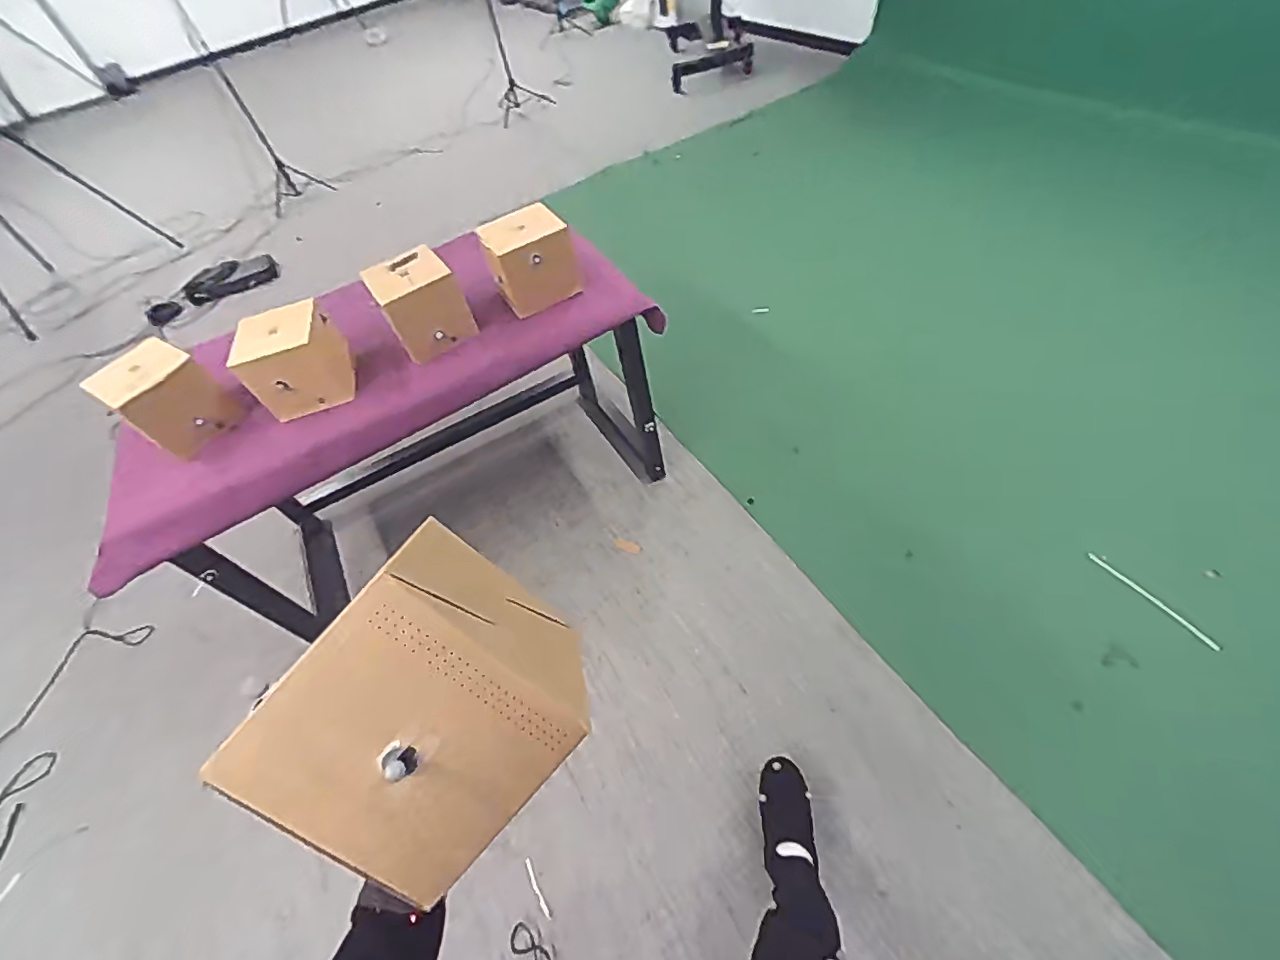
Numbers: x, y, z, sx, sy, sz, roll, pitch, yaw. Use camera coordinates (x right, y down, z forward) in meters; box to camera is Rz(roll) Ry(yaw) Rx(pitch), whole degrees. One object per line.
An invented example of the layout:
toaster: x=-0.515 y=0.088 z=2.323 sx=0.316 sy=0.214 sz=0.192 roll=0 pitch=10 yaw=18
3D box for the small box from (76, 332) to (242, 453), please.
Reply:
small box: x=-1.013 y=-0.183 z=1.153 sx=0.179 sy=0.176 sz=0.168 roll=24 pitch=60 yaw=25

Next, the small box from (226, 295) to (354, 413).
small box: x=-0.749 y=-0.266 z=1.178 sx=0.168 sy=0.176 sz=0.179 roll=-19 pitch=51 yaw=-4

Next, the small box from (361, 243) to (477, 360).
small box: x=-0.503 y=-0.407 z=1.243 sx=0.168 sy=0.176 sz=0.179 roll=-32 pitch=55 yaw=-14

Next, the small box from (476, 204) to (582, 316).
small box: x=-0.259 y=-0.519 z=1.287 sx=0.179 sy=0.176 sz=0.168 roll=-27 pitch=52 yaw=-11
